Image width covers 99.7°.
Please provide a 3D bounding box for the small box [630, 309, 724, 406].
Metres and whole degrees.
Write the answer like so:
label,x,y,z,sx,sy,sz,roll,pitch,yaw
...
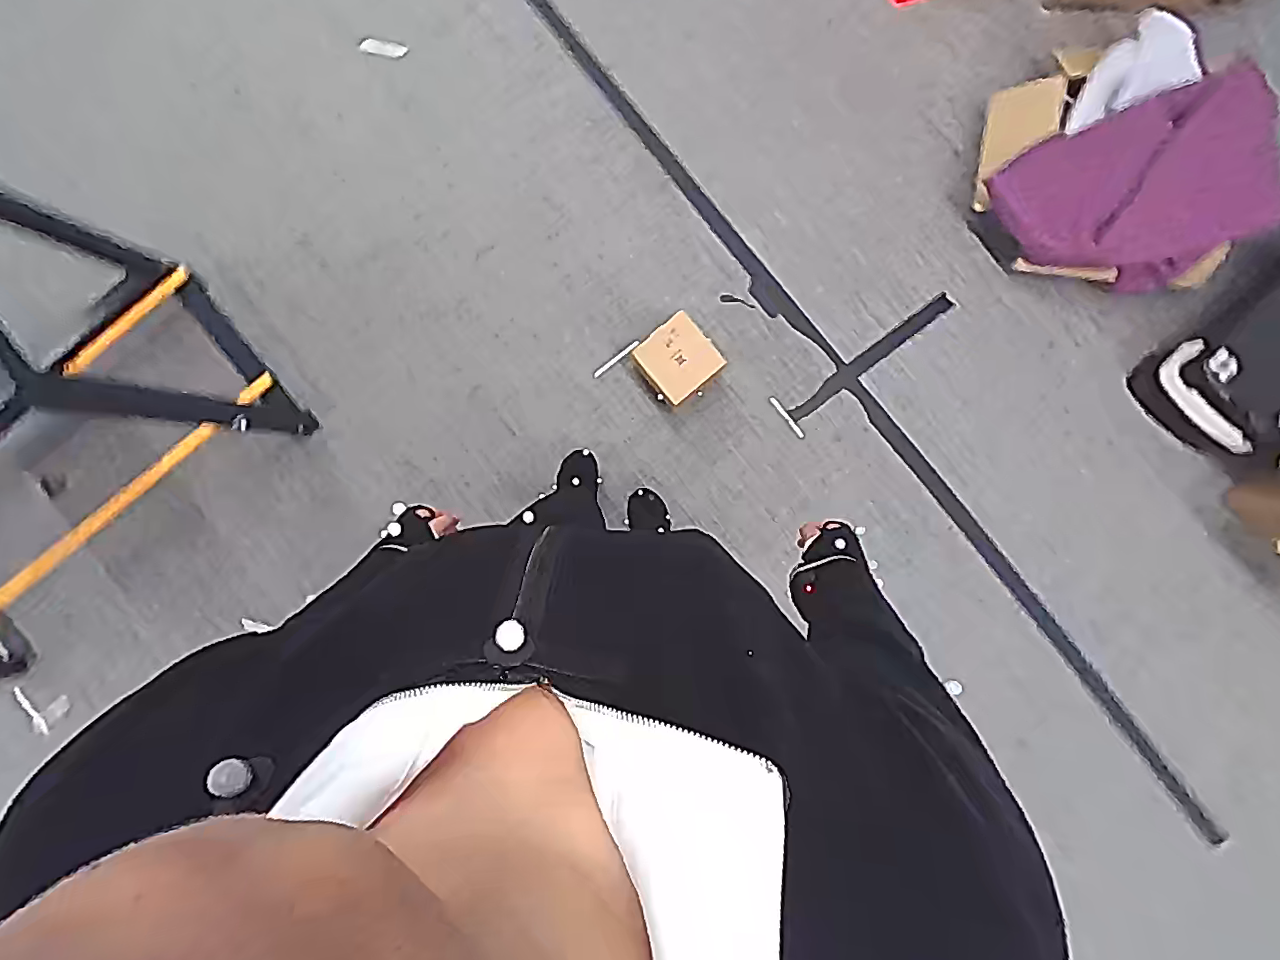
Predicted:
label,x,y,z,sx,sy,sz,roll,pitch,yaw
small box,0.095,-0.307,1.406,0.168,0.176,0.179,-39,89,2
